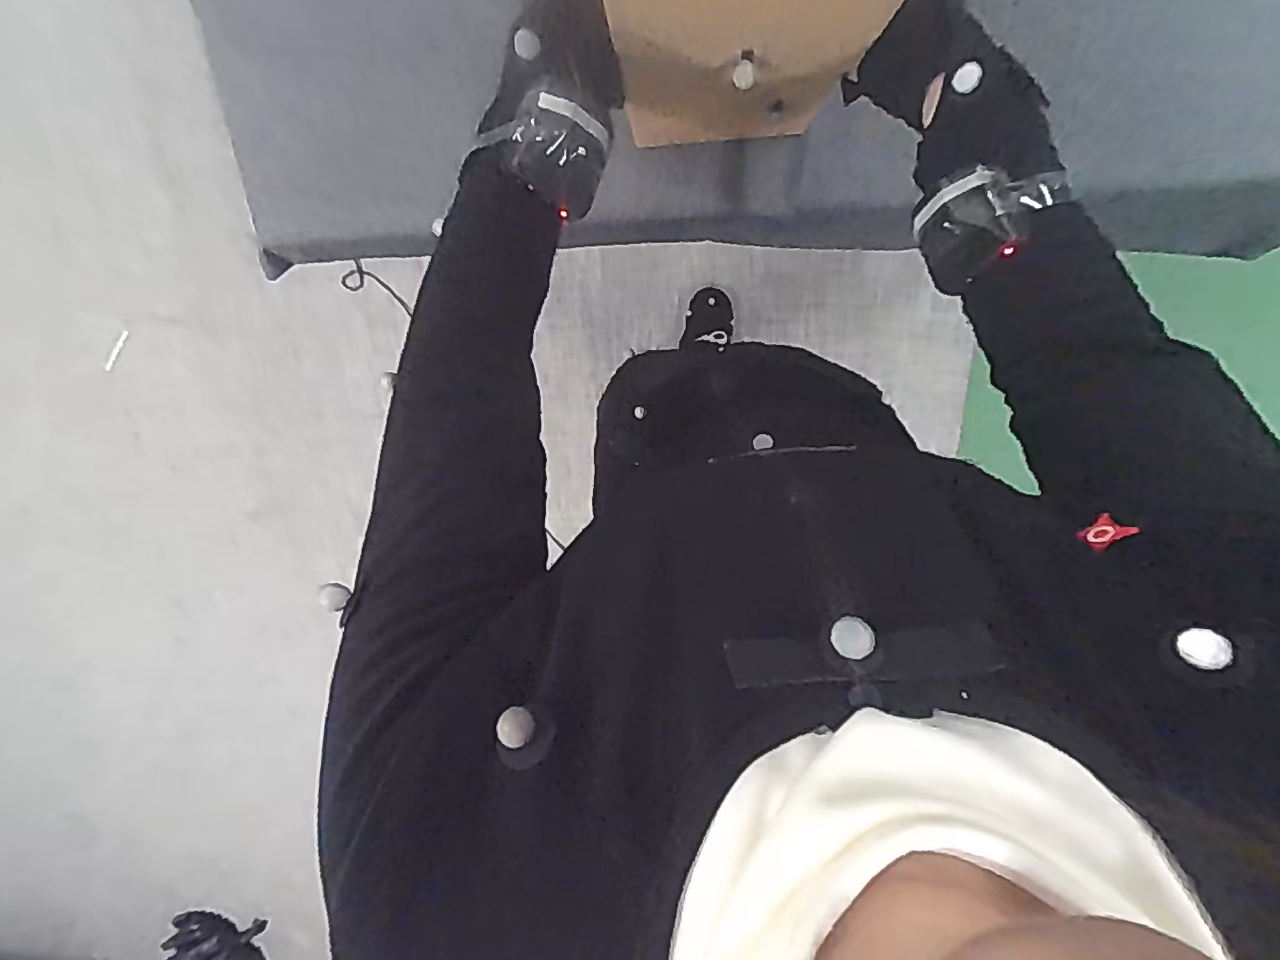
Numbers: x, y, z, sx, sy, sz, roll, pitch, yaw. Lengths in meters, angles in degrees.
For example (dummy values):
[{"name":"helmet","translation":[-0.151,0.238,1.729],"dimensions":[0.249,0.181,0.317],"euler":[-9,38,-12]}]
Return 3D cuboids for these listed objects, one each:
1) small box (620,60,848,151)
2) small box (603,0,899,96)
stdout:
[{"name":"small box","translation":[0.074,-0.408,0.471],"dimensions":[0.179,0.176,0.168],"euler":[-2,106,6]},{"name":"small box","translation":[0.065,-0.355,0.316],"dimensions":[0.179,0.176,0.168],"euler":[-2,106,4]}]
